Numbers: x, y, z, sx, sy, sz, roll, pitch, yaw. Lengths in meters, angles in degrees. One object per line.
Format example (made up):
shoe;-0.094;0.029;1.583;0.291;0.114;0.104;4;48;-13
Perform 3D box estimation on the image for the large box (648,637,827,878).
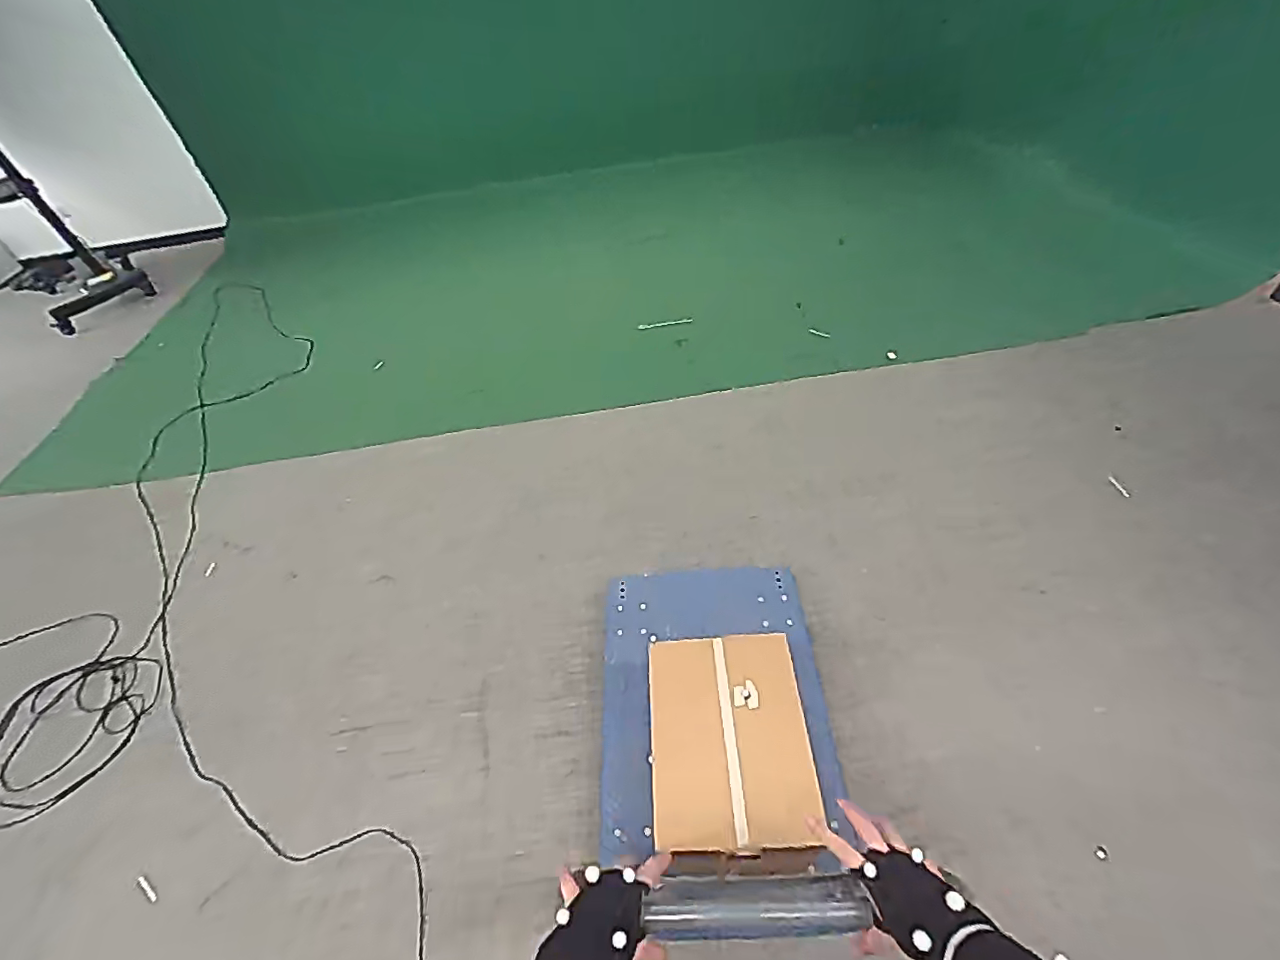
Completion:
large box;0.194;0.616;1.209;0.320;0.320;0.408;-5;46;3
